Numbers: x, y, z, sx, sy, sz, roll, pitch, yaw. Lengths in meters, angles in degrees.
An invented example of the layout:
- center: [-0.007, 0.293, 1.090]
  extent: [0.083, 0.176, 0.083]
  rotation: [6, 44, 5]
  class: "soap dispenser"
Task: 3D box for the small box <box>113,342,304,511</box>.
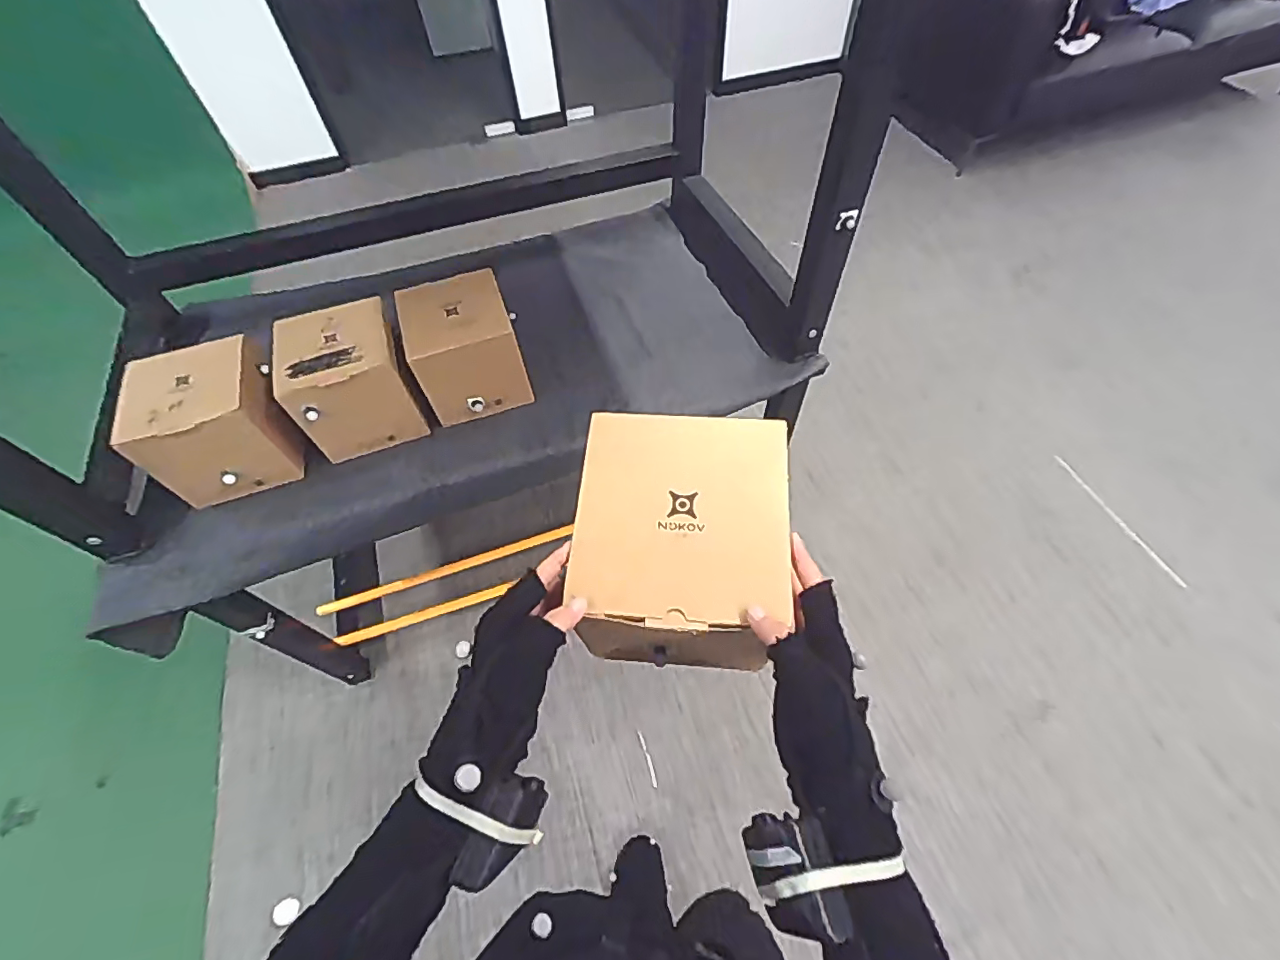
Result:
- center: [-0.655, -0.082, 0.848]
  extent: [0.168, 0.176, 0.179]
  rotation: [-18, 57, -10]
  class: "small box"
